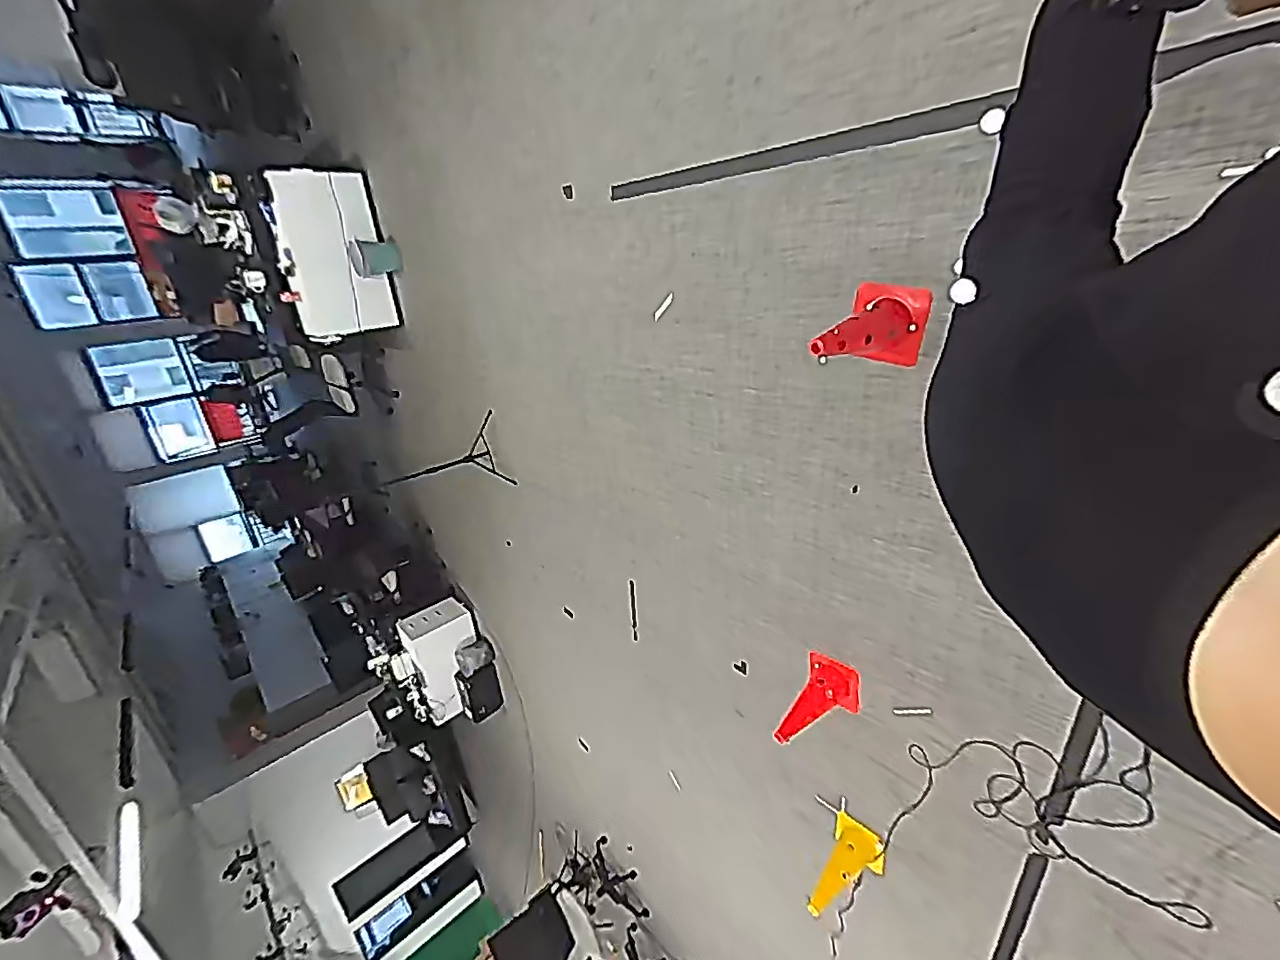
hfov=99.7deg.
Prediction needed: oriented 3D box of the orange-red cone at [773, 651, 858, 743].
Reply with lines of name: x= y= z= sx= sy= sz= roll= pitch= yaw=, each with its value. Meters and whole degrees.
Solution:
orange-red cone: x=0.590 y=0.805 z=1.909 sx=0.198 sy=0.360 sz=0.199 roll=17 pitch=123 yaw=46

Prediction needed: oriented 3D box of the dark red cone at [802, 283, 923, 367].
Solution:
dark red cone: x=0.519 y=-0.360 z=1.337 sx=0.201 sy=0.394 sz=0.202 roll=25 pitch=127 yaw=40
